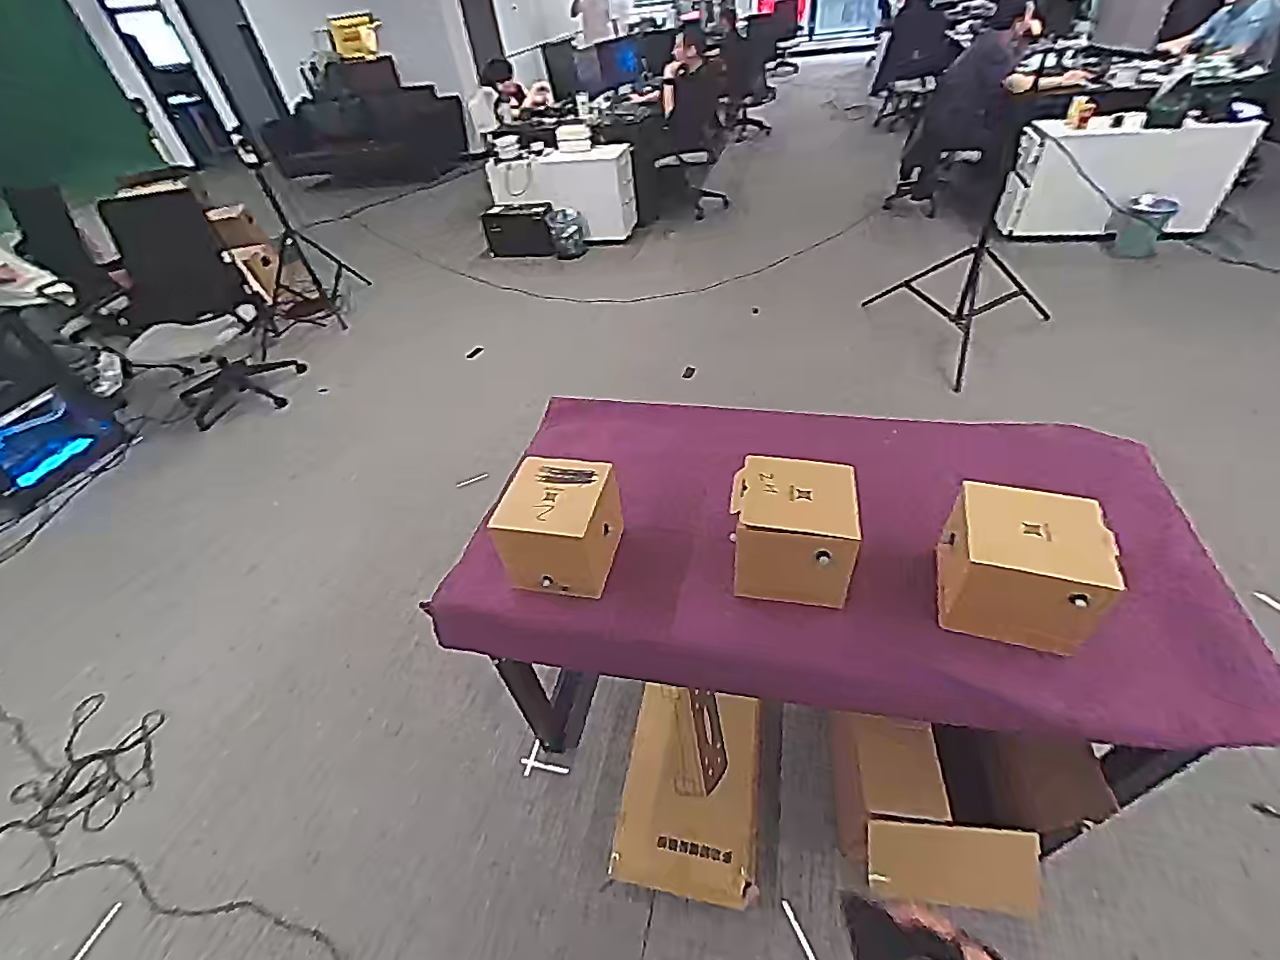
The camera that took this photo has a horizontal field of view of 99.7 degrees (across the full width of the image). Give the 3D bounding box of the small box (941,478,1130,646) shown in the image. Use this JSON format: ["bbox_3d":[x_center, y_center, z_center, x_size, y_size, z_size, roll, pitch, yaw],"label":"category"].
[{"bbox_3d":[0.561,0.122,0.801,0.179,0.176,0.168,10,46,18],"label":"small box"}]

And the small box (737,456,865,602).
[{"bbox_3d":[0.257,0.081,0.889,0.179,0.176,0.168,4,42,13],"label":"small box"}]
